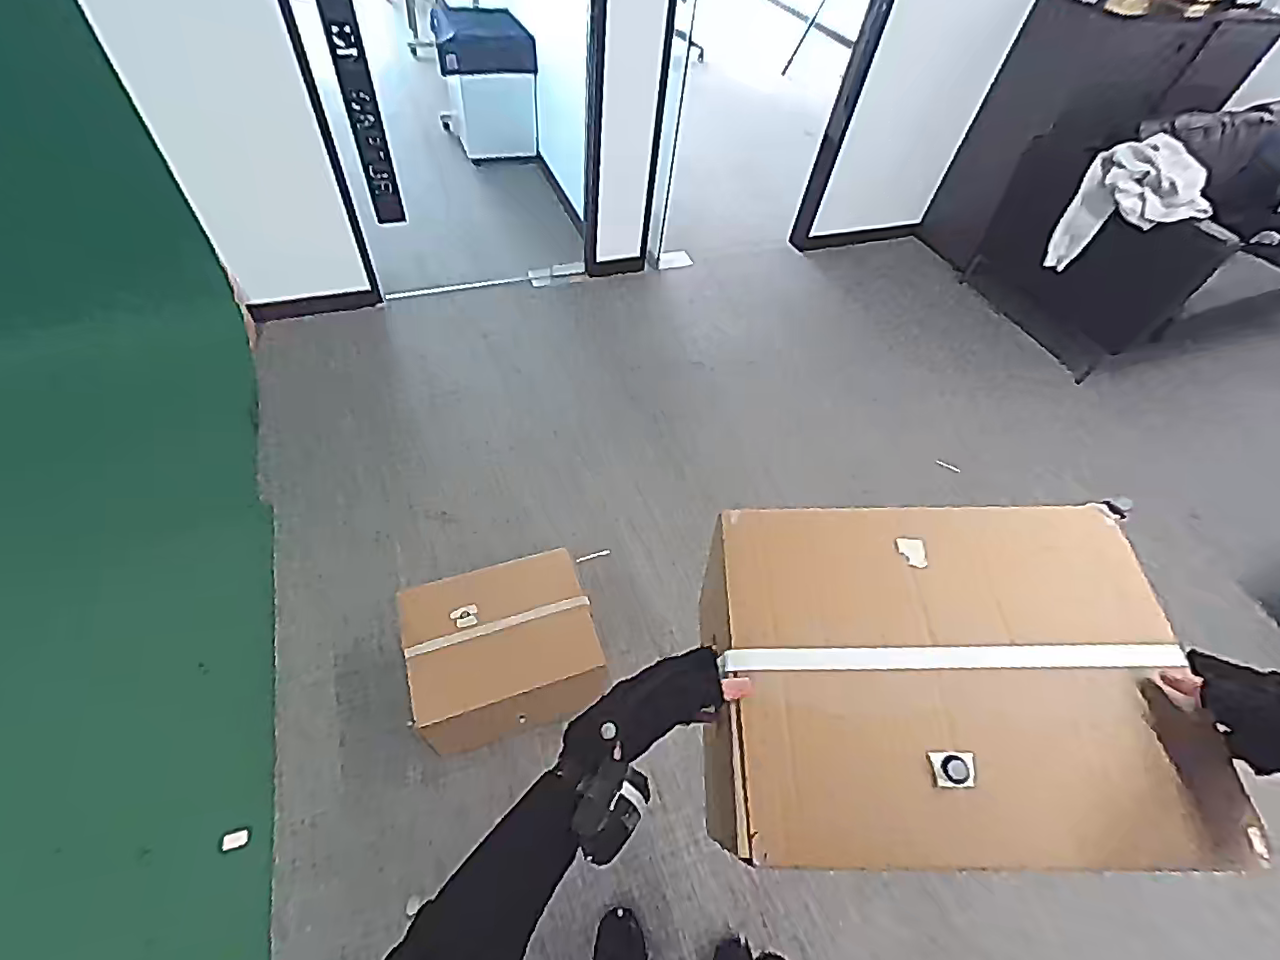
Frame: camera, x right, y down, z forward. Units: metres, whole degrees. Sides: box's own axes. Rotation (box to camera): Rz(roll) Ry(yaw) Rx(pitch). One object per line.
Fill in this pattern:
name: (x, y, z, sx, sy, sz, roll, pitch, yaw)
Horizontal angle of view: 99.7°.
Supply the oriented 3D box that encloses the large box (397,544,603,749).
large box: (-0.330, 0.407, 1.326, 0.408, 0.320, 0.320, -14, 56, -17)
